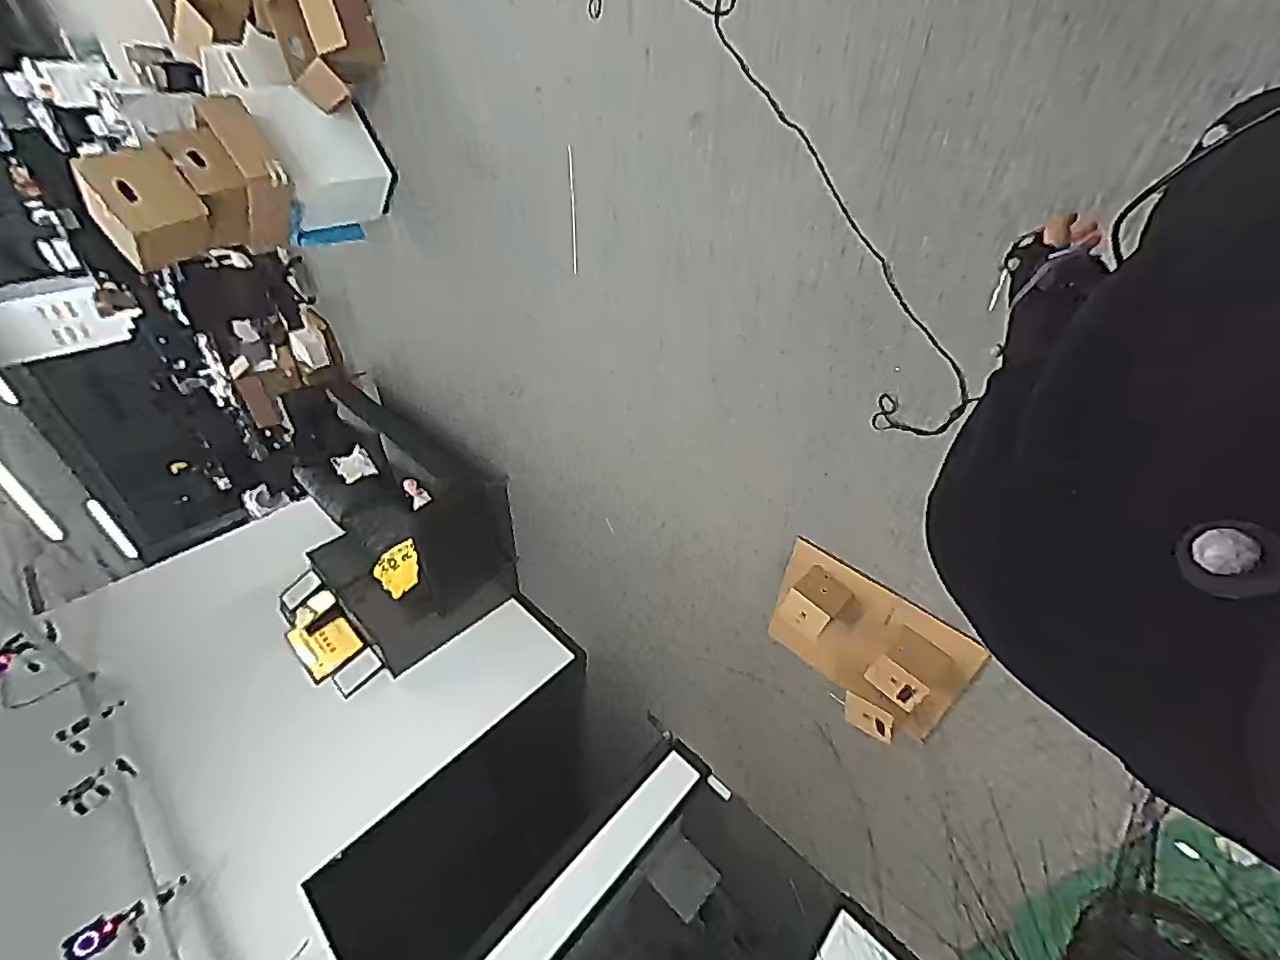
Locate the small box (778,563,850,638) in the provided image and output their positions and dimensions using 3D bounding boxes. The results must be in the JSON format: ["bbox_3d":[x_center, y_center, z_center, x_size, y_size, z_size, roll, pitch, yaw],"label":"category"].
[{"bbox_3d":[0.647,0.440,1.997,0.168,0.176,0.179,39,141,26],"label":"small box"}]

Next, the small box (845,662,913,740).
[{"bbox_3d":[0.884,0.808,1.997,0.179,0.176,0.168,21,131,42],"label":"small box"}]
